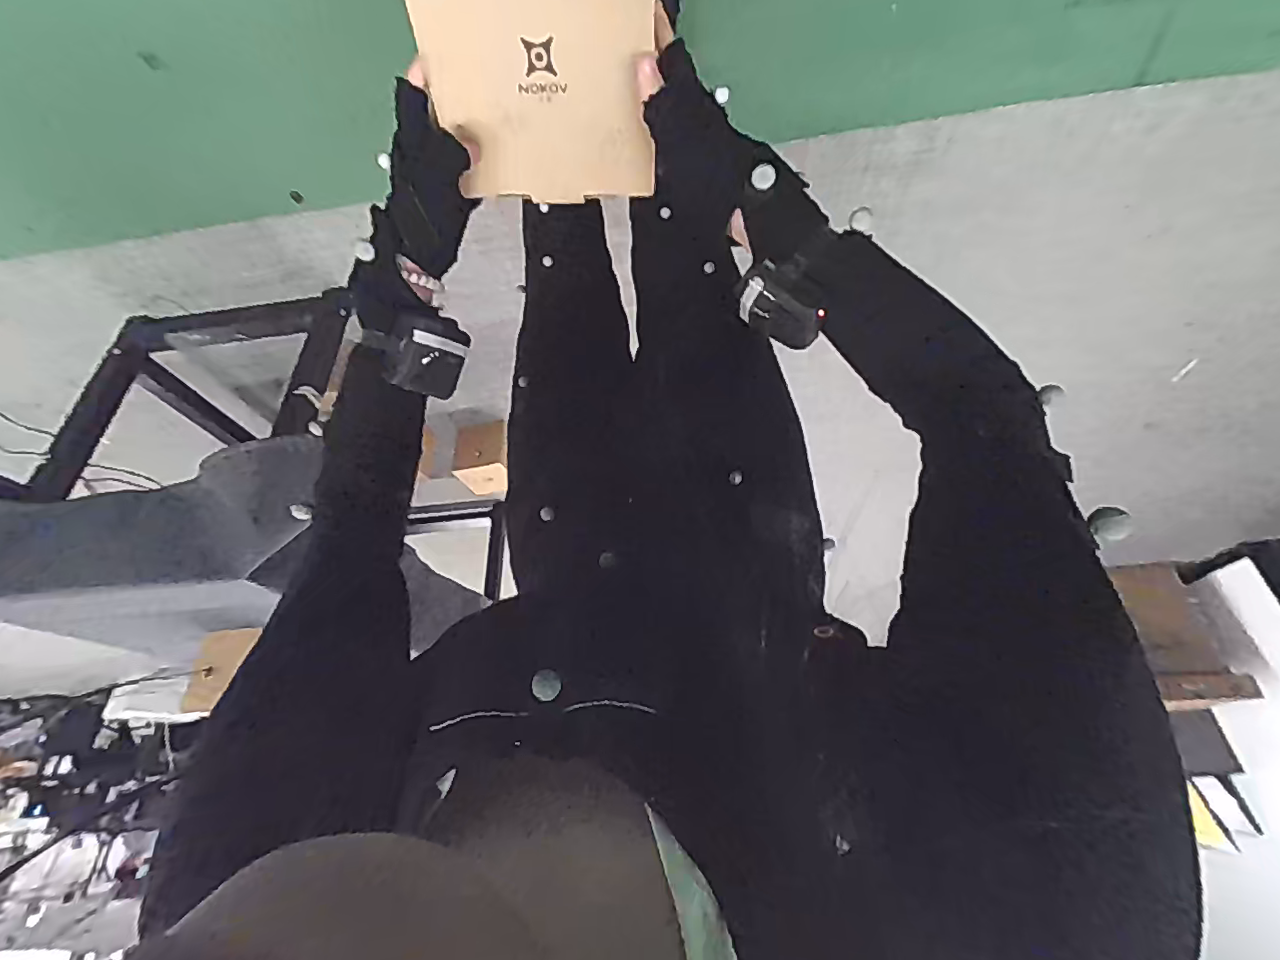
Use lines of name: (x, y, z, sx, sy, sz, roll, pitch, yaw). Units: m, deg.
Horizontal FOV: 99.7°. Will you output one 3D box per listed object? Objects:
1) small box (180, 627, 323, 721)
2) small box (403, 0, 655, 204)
small box: (-0.841, 0.429, 1.192, 0.179, 0.176, 0.168, -7, 151, 8)
small box: (-0.072, -0.351, 0.434, 0.168, 0.176, 0.179, 0, 144, 0)
